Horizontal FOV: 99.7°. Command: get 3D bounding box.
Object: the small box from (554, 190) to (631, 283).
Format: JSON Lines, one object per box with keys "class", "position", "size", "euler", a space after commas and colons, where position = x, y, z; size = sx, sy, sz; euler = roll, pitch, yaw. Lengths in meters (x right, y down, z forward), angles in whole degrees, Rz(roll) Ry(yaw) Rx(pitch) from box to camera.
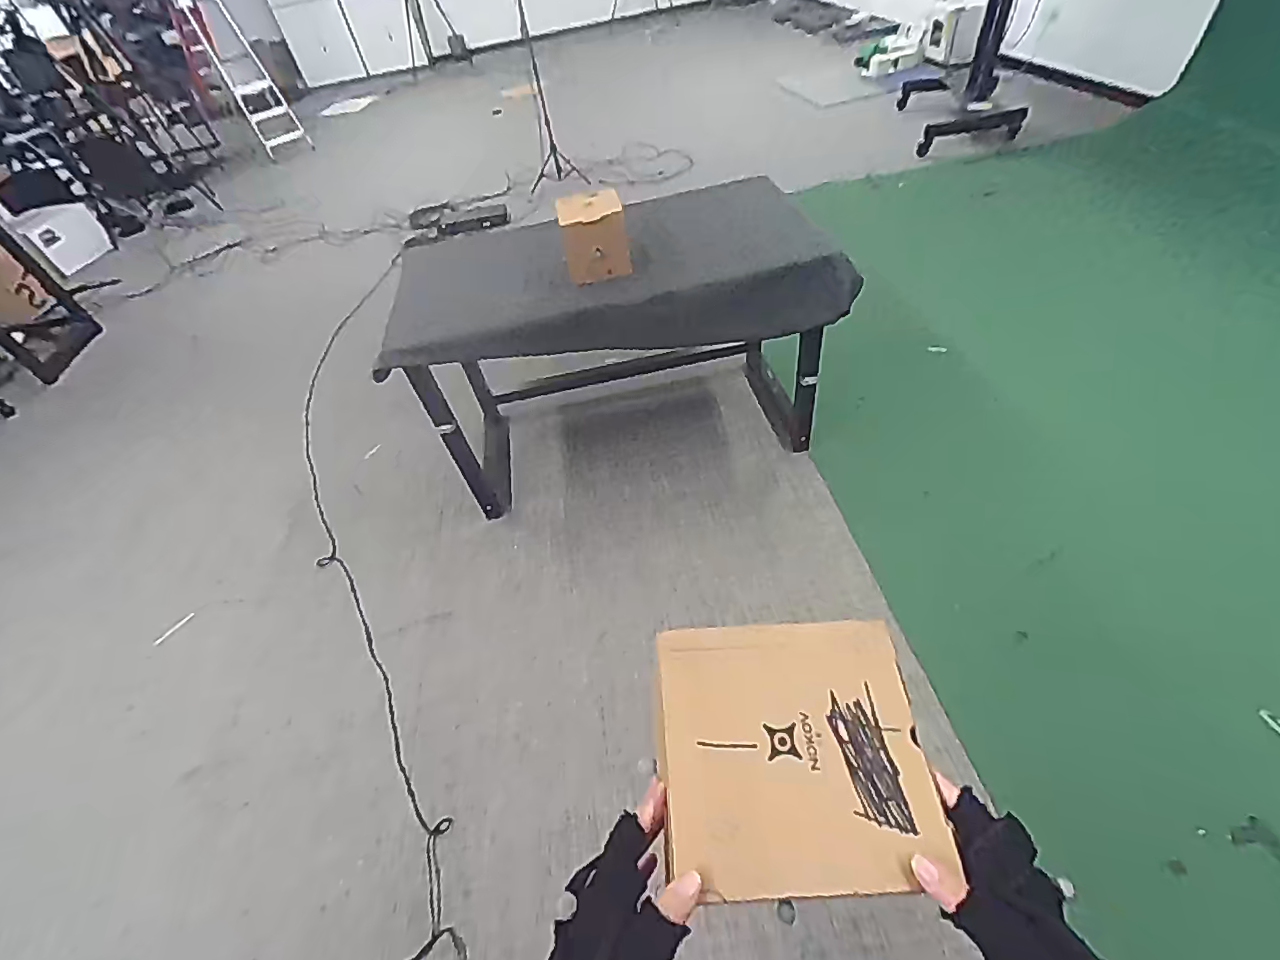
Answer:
{"class": "small box", "position": [-0.127, -0.652, 1.466], "size": [0.168, 0.176, 0.179], "euler": [-13, 47, 0]}
